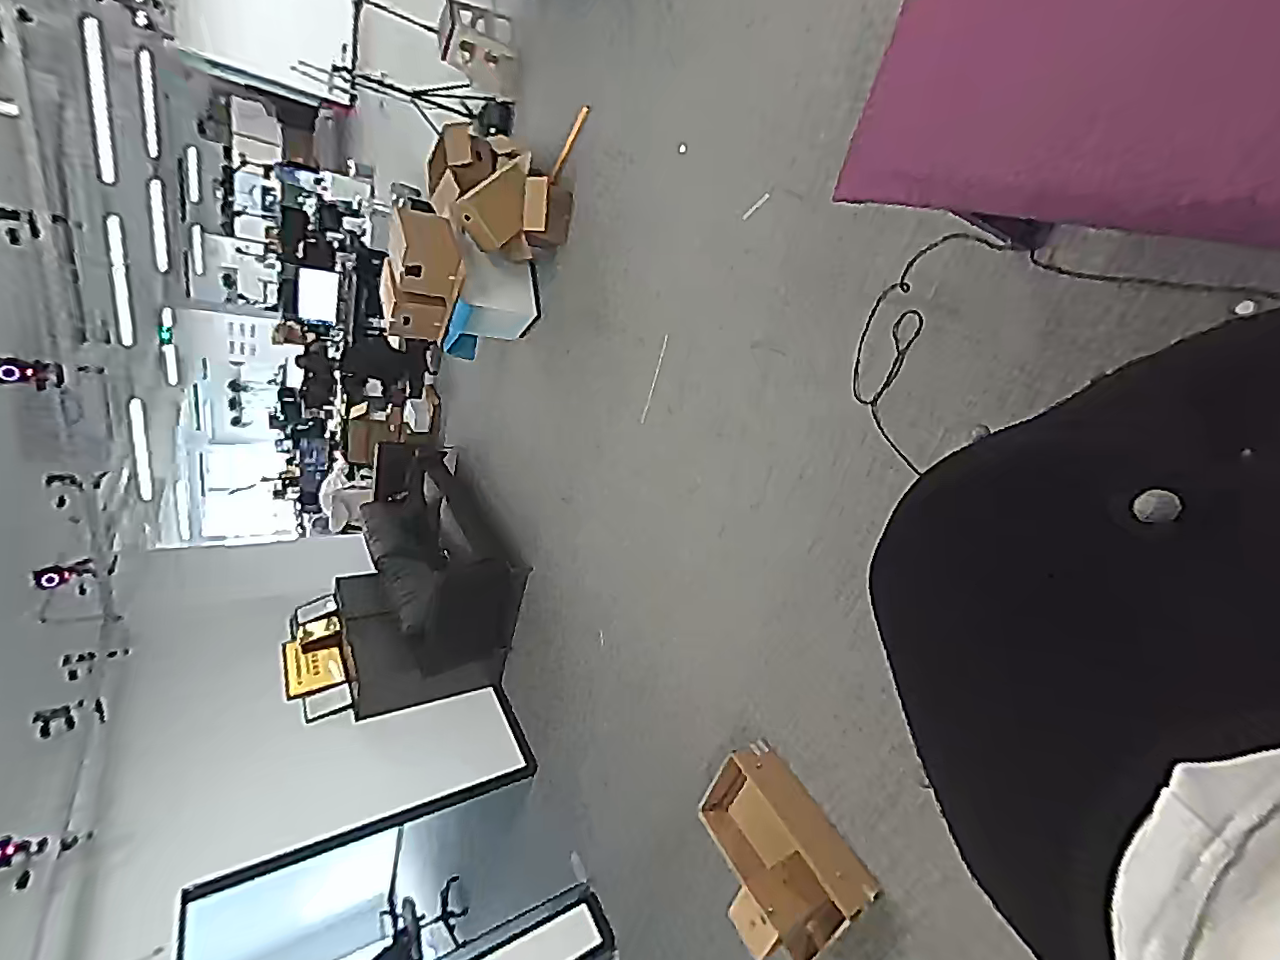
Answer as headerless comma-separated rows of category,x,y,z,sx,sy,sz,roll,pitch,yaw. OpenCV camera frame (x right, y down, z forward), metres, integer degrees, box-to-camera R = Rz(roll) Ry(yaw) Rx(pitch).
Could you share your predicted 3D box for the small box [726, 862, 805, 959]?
small box,0.424,1.450,1.825,0.168,0.176,0.179,41,124,44
